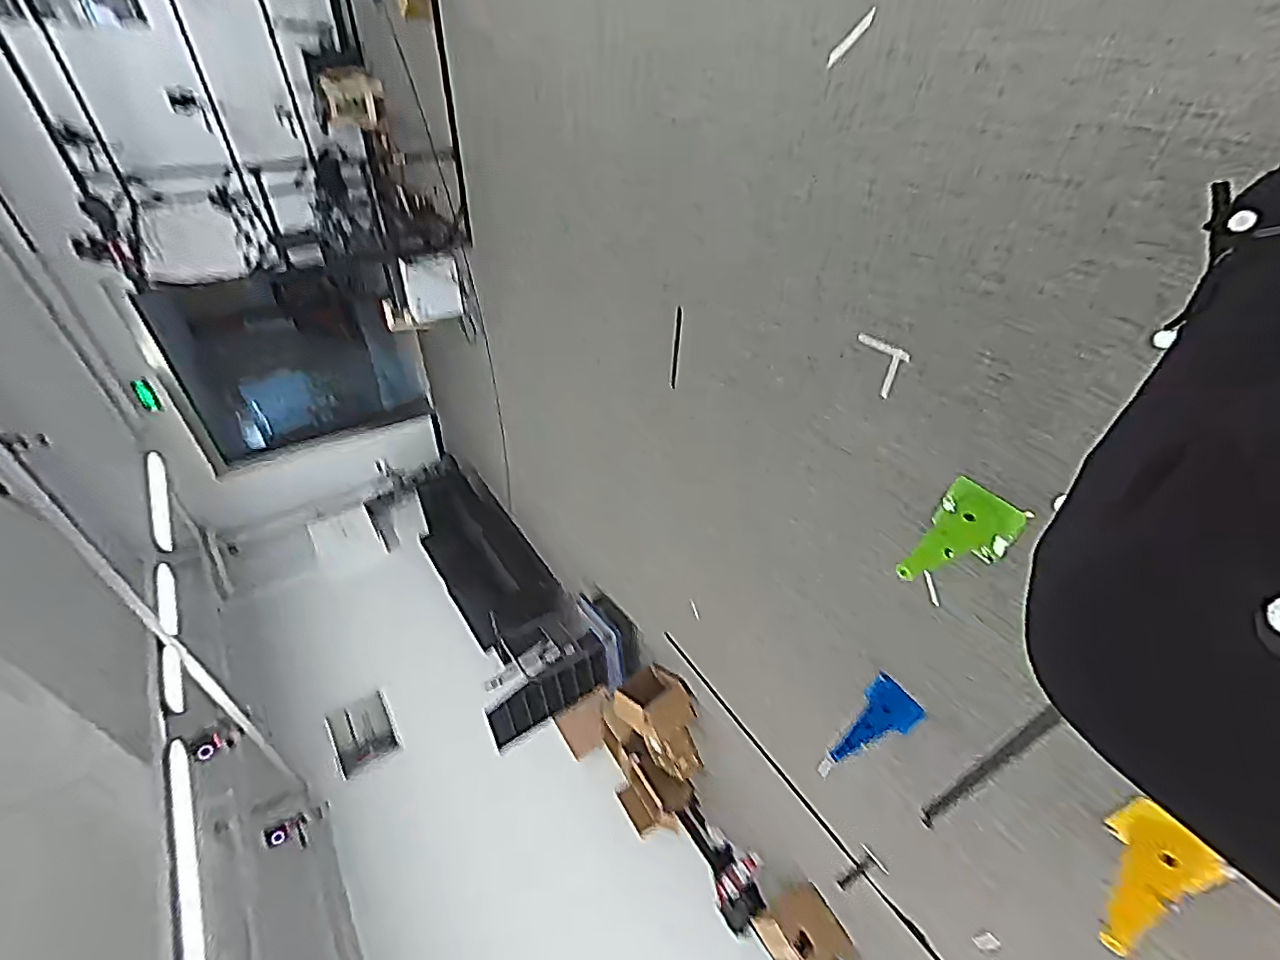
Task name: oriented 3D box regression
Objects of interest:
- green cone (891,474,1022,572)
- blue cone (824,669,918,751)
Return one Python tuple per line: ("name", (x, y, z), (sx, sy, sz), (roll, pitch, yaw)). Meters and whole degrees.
("green cone", (0.811, 0.159, 1.461), (0.202, 0.368, 0.200), (46, 146, 37))
("blue cone", (0.833, 0.896, 2.011), (0.192, 0.380, 0.193), (49, 147, 33))
